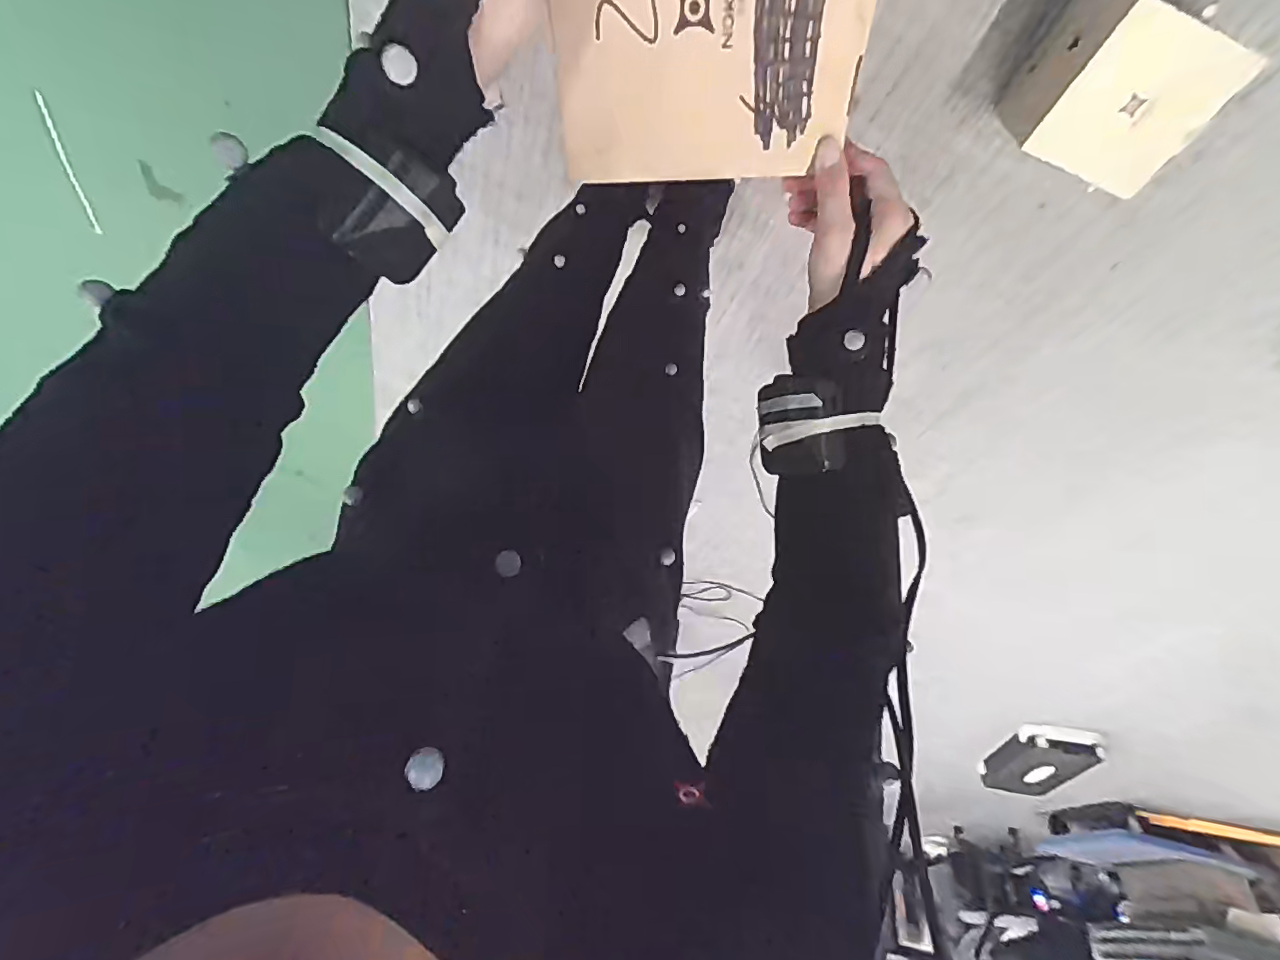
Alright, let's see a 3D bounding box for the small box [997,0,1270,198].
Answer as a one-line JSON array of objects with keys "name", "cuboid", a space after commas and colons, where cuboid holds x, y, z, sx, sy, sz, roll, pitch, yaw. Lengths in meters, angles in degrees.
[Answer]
[{"name": "small box", "cuboid": [0.611, -0.508, 0.701, 0.179, 0.176, 0.168, 19, 139, -7]}]
